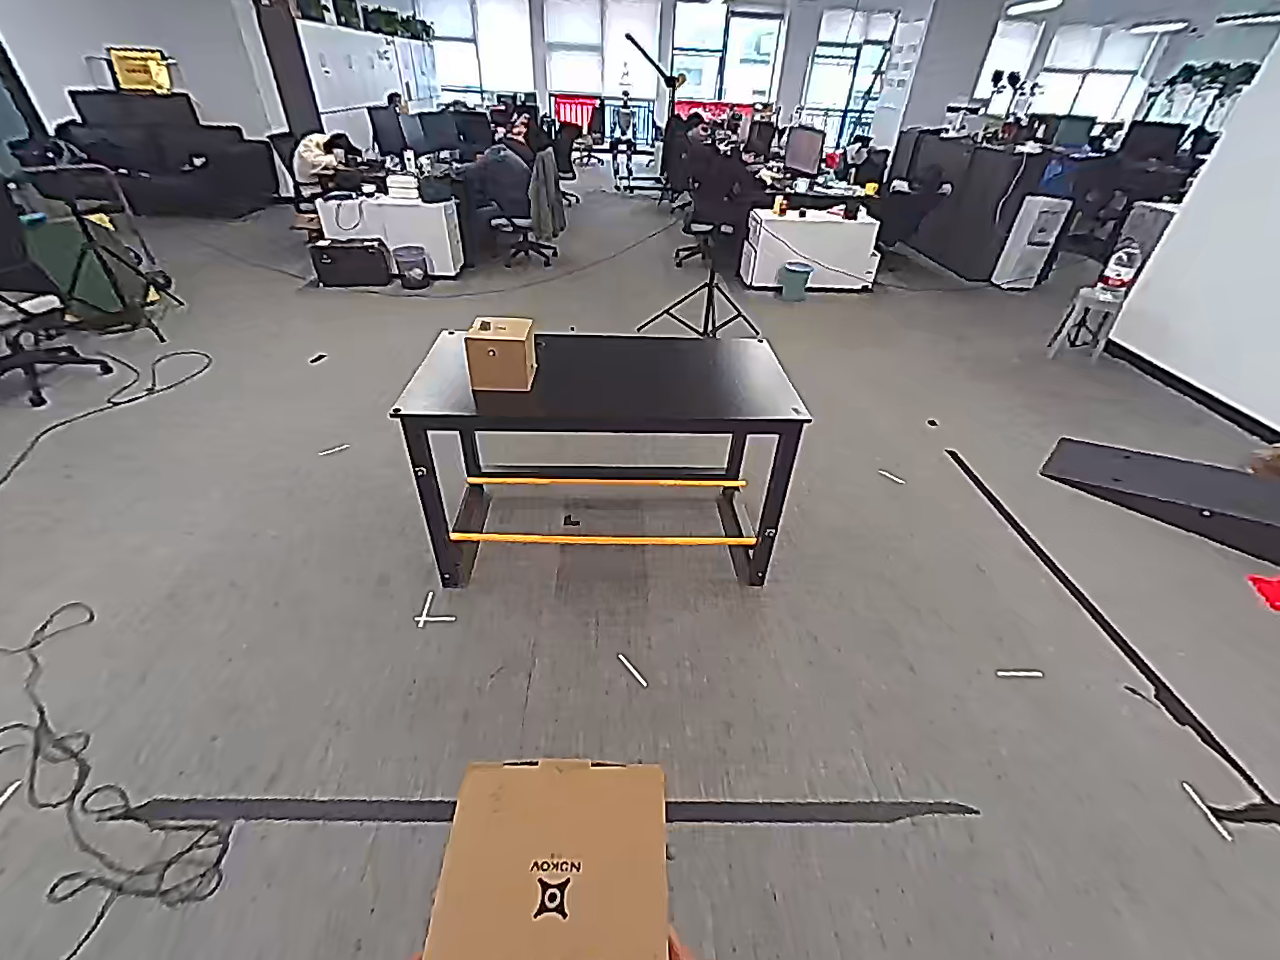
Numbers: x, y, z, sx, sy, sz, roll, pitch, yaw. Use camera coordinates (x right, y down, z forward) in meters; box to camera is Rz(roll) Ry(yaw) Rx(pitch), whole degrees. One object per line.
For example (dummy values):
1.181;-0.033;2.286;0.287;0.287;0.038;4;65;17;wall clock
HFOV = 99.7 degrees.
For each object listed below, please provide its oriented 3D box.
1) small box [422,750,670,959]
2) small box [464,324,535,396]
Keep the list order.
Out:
-0.064;0.348;0.445;0.168;0.176;0.179;1;41;-1;small box
-0.426;-0.370;1.668;0.179;0.176;0.168;2;36;-3;small box
